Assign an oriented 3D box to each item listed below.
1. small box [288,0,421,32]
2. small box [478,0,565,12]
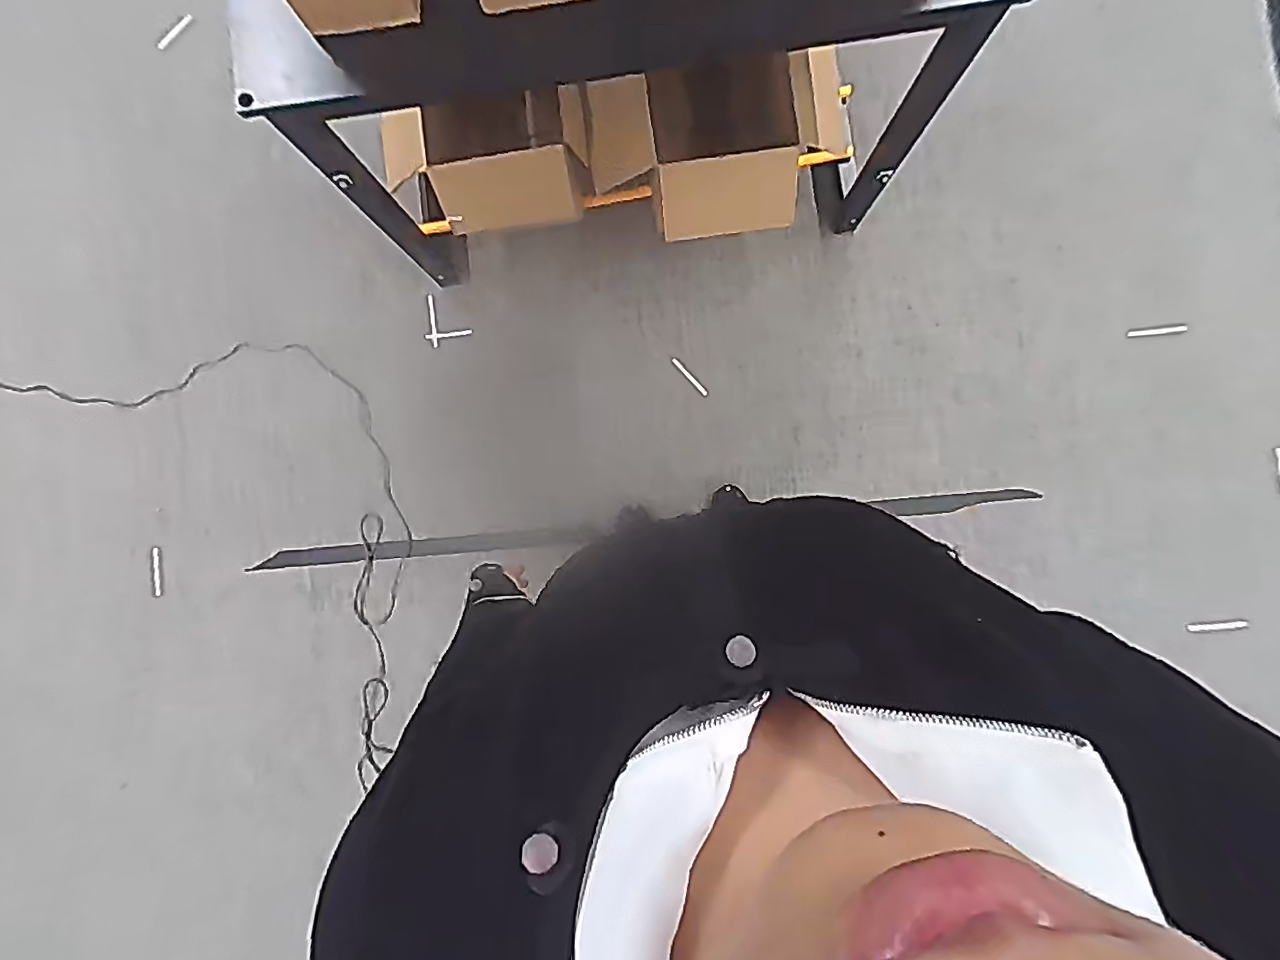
[{"bbox_3d":[-0.427,-0.766,0.743,0.179,0.176,0.168,-6,89,1],"label":"small box"},{"bbox_3d":[-0.165,-0.793,0.734,0.179,0.176,0.168,-8,87,1],"label":"small box"}]
